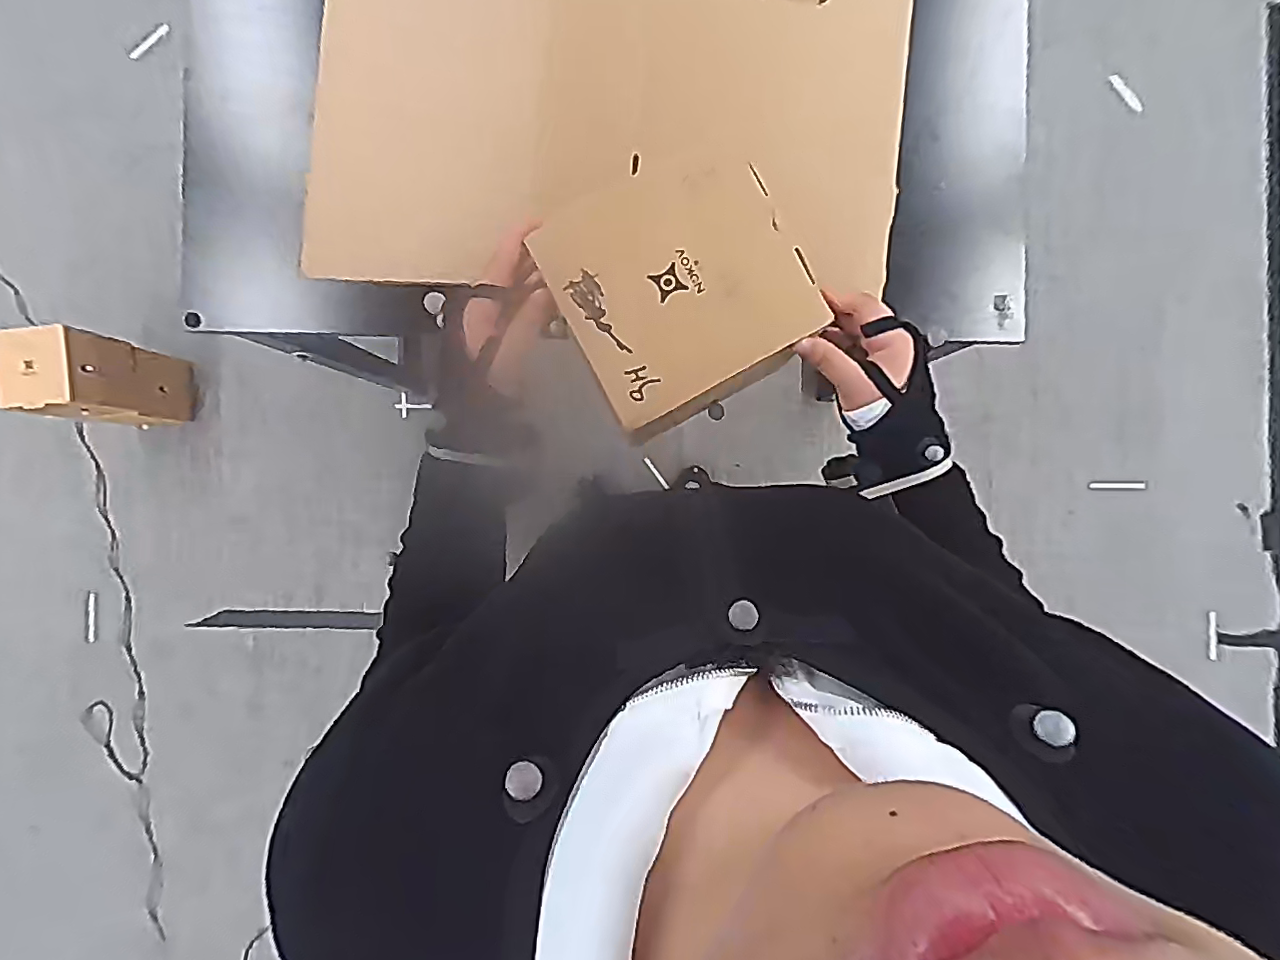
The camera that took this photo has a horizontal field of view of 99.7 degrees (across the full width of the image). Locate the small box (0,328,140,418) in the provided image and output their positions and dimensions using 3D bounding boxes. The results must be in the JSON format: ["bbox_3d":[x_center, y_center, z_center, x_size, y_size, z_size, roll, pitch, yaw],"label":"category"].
[{"bbox_3d":[-1.325,-0.241,1.263,0.168,0.176,0.179,-6,89,-1],"label":"small box"}]

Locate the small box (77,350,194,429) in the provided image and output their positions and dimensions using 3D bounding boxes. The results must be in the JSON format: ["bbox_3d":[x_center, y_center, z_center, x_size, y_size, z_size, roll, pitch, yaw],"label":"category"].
[{"bbox_3d":[-1.325,-0.234,1.426,0.168,0.176,0.179,-3,90,0],"label":"small box"}]
